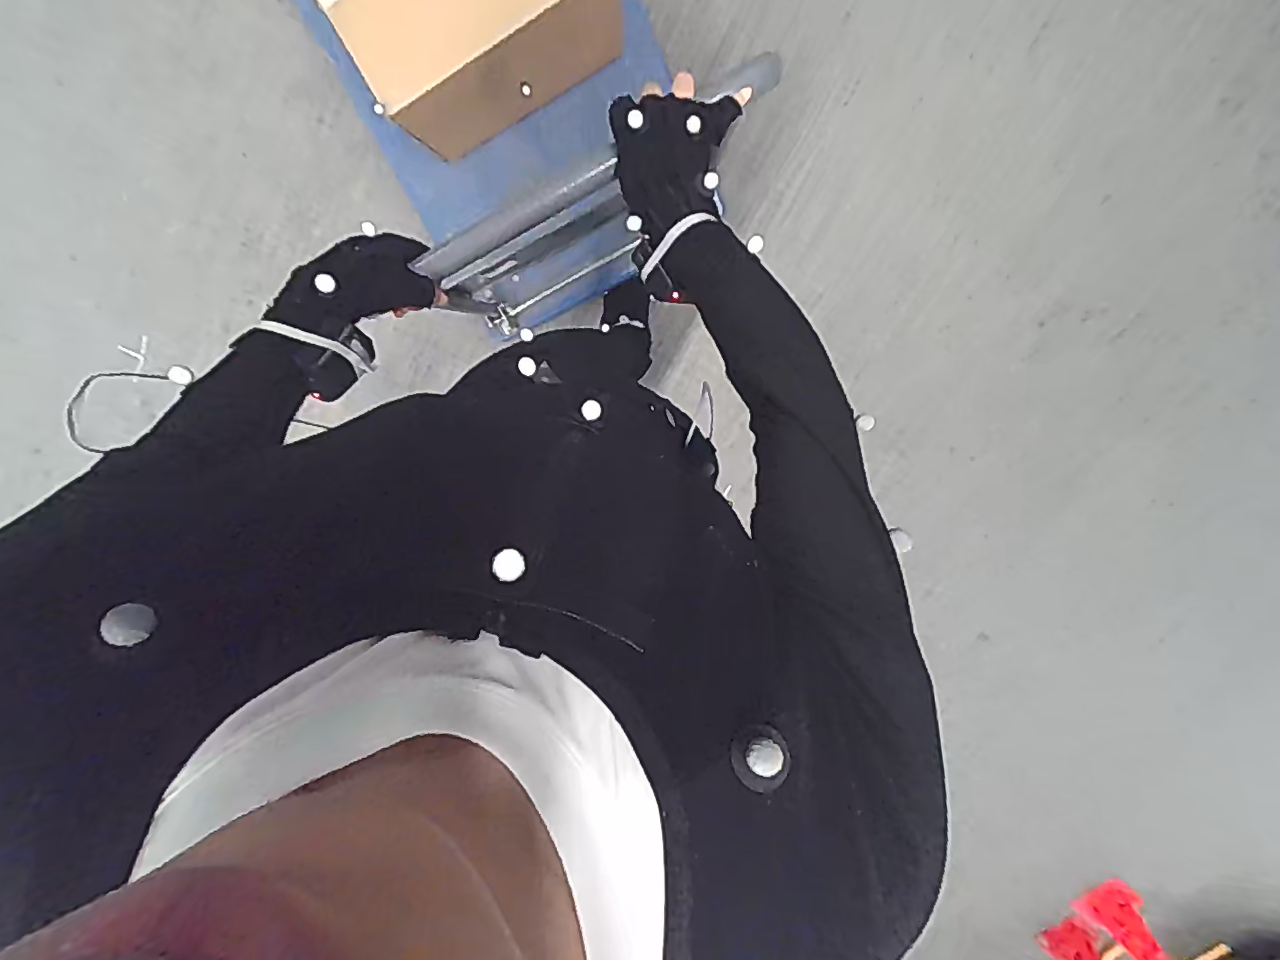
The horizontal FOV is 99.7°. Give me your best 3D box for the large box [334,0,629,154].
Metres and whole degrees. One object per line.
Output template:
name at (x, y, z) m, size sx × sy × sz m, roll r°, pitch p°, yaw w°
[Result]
large box at (-0.263, -0.824, 0.886) m, size 0.408 × 0.320 × 0.320 m, roll -28°, pitch 107°, yaw 9°
